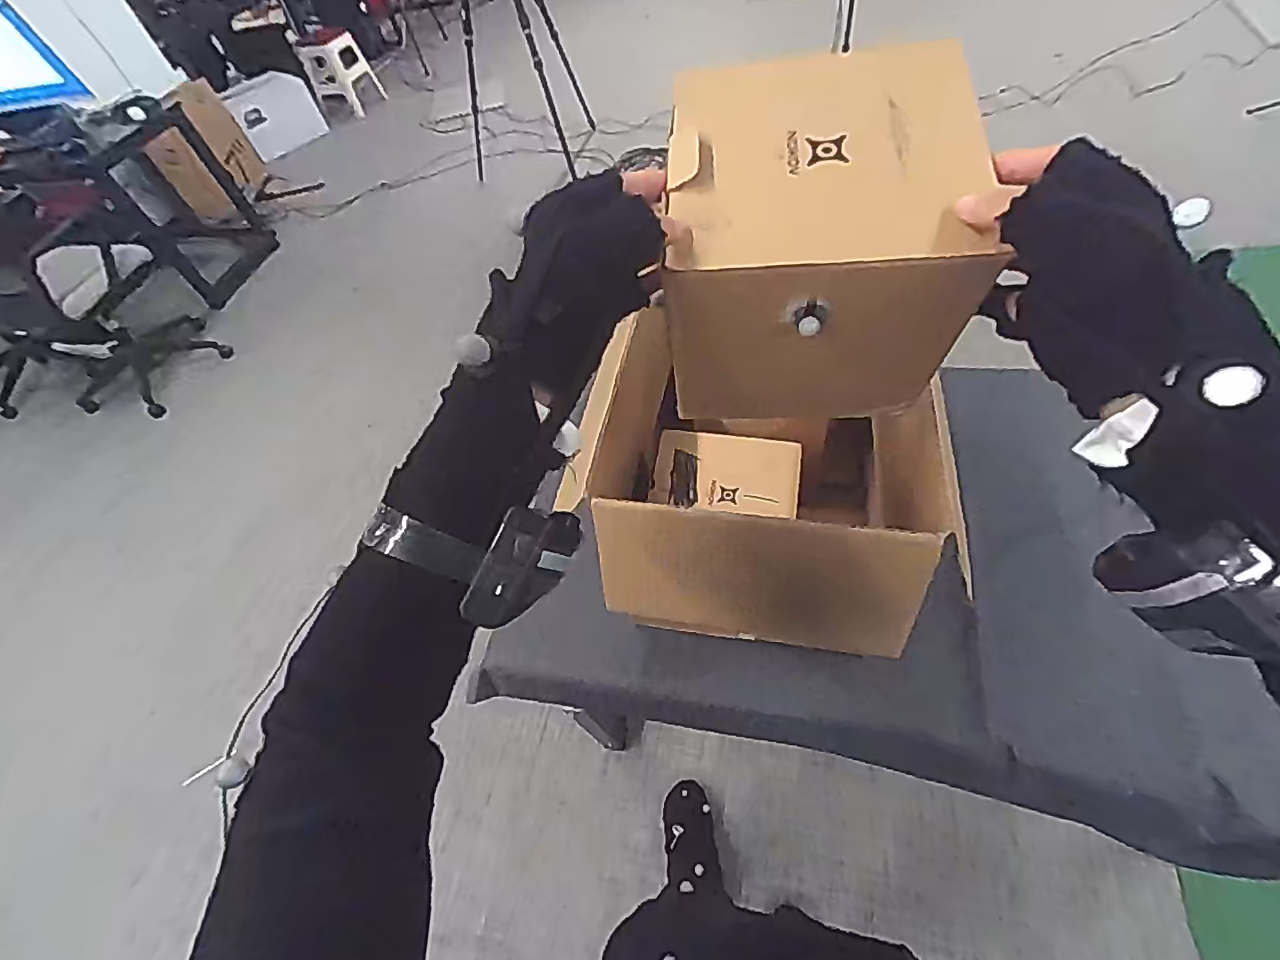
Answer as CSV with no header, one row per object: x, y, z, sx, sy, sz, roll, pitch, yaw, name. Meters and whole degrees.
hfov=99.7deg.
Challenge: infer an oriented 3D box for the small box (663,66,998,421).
0.114,-0.152,0.392,0.179,0.176,0.168,1,68,8,small box
